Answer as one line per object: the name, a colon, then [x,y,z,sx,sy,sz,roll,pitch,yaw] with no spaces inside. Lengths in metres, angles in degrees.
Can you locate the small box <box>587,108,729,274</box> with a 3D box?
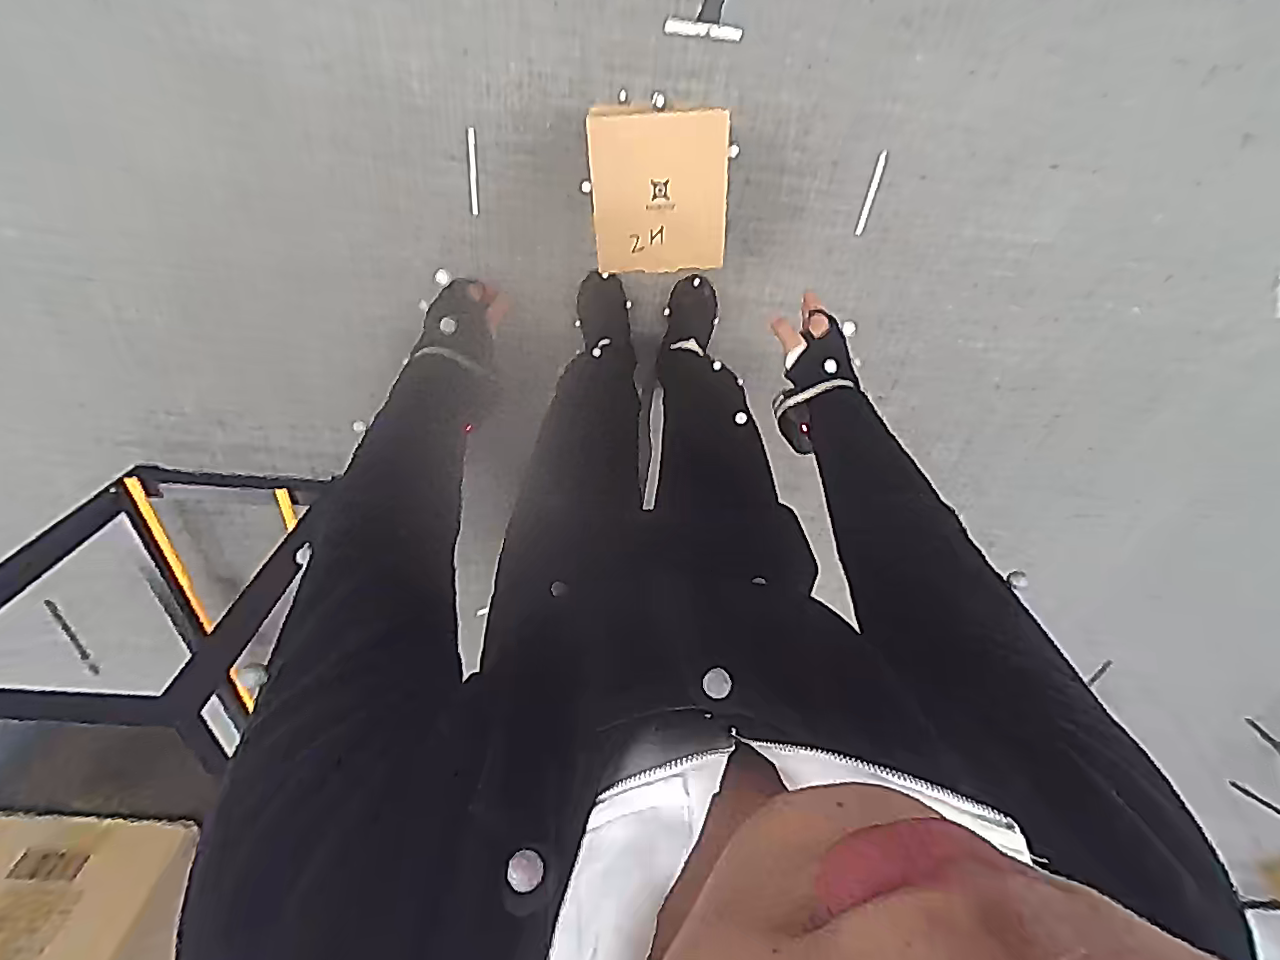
small box: [0.021,-0.389,0.723,0.168,0.176,0.179,-2,126,1]
